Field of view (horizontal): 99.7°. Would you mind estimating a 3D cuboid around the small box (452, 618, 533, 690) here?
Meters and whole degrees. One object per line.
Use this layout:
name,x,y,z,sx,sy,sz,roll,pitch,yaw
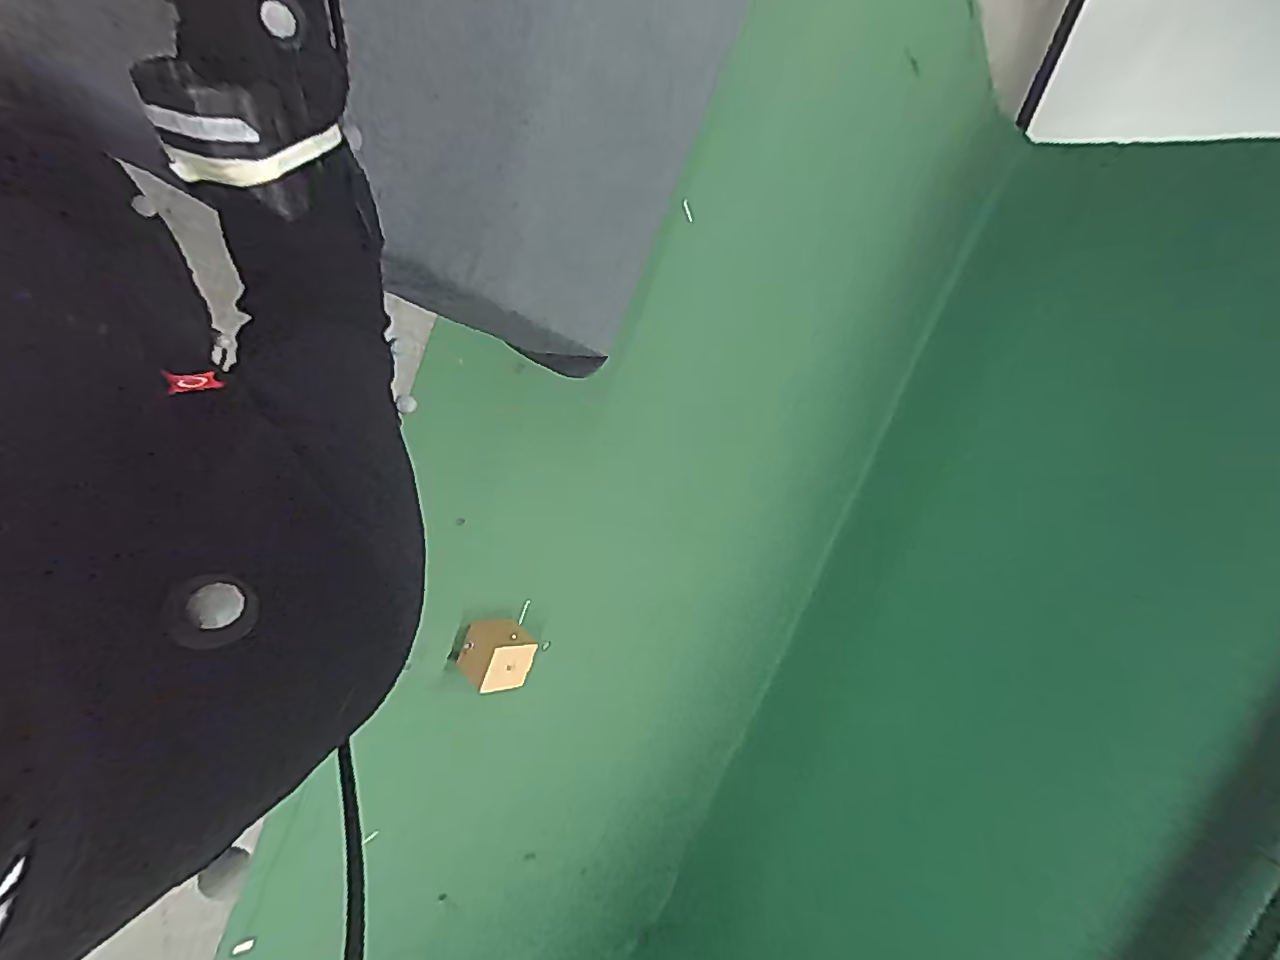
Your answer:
small box,-0.501,0.581,1.827,0.179,0.176,0.168,13,100,-49
